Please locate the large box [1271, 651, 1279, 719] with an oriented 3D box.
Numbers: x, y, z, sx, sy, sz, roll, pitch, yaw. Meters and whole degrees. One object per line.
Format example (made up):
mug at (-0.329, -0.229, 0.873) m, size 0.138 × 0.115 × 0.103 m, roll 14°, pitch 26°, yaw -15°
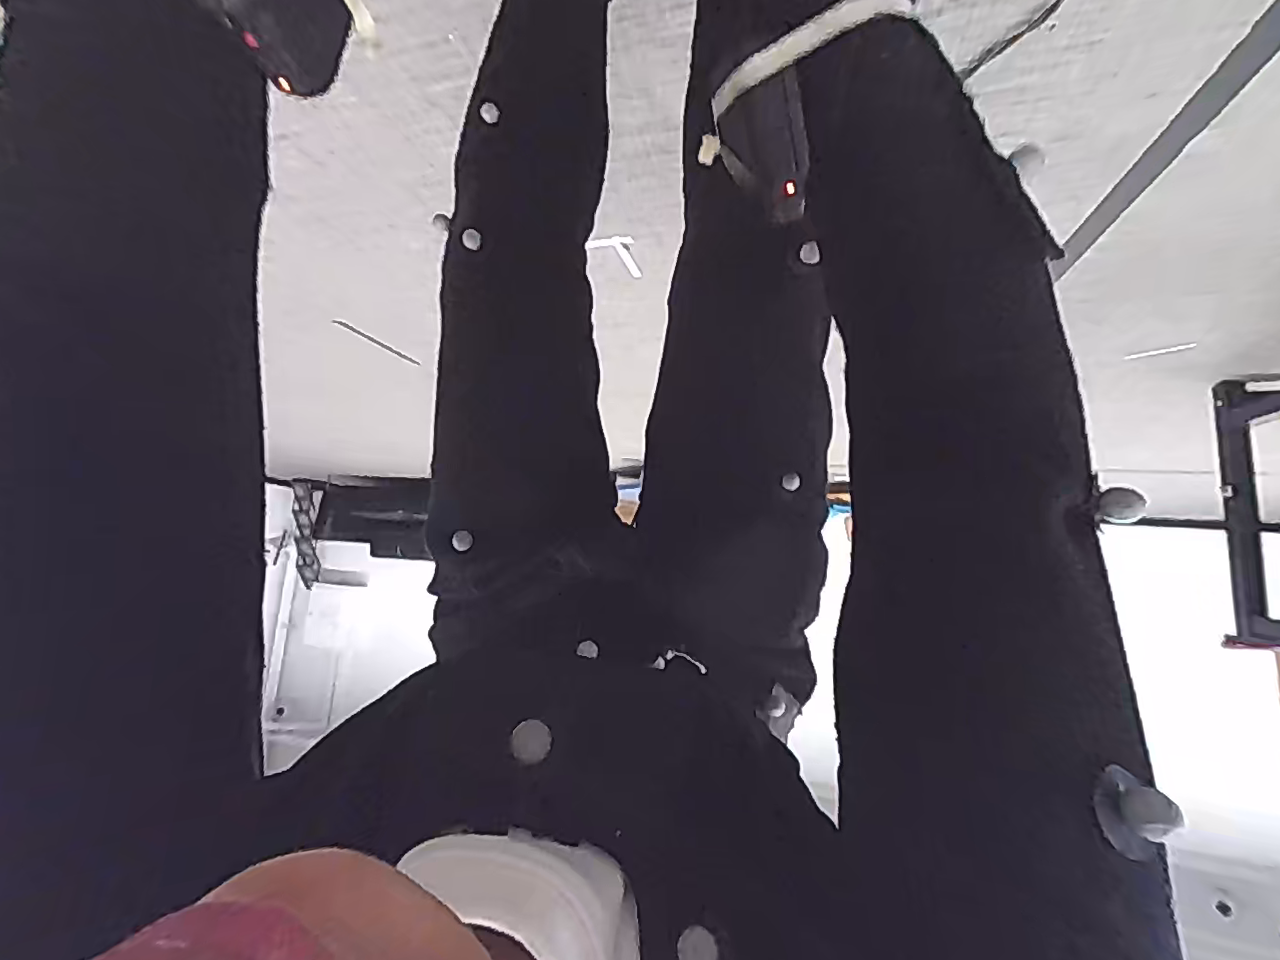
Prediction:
large box at (1.789, 0.568, 1.196) m, size 0.408 × 0.320 × 0.320 m, roll 0°, pitch 171°, yaw 17°
